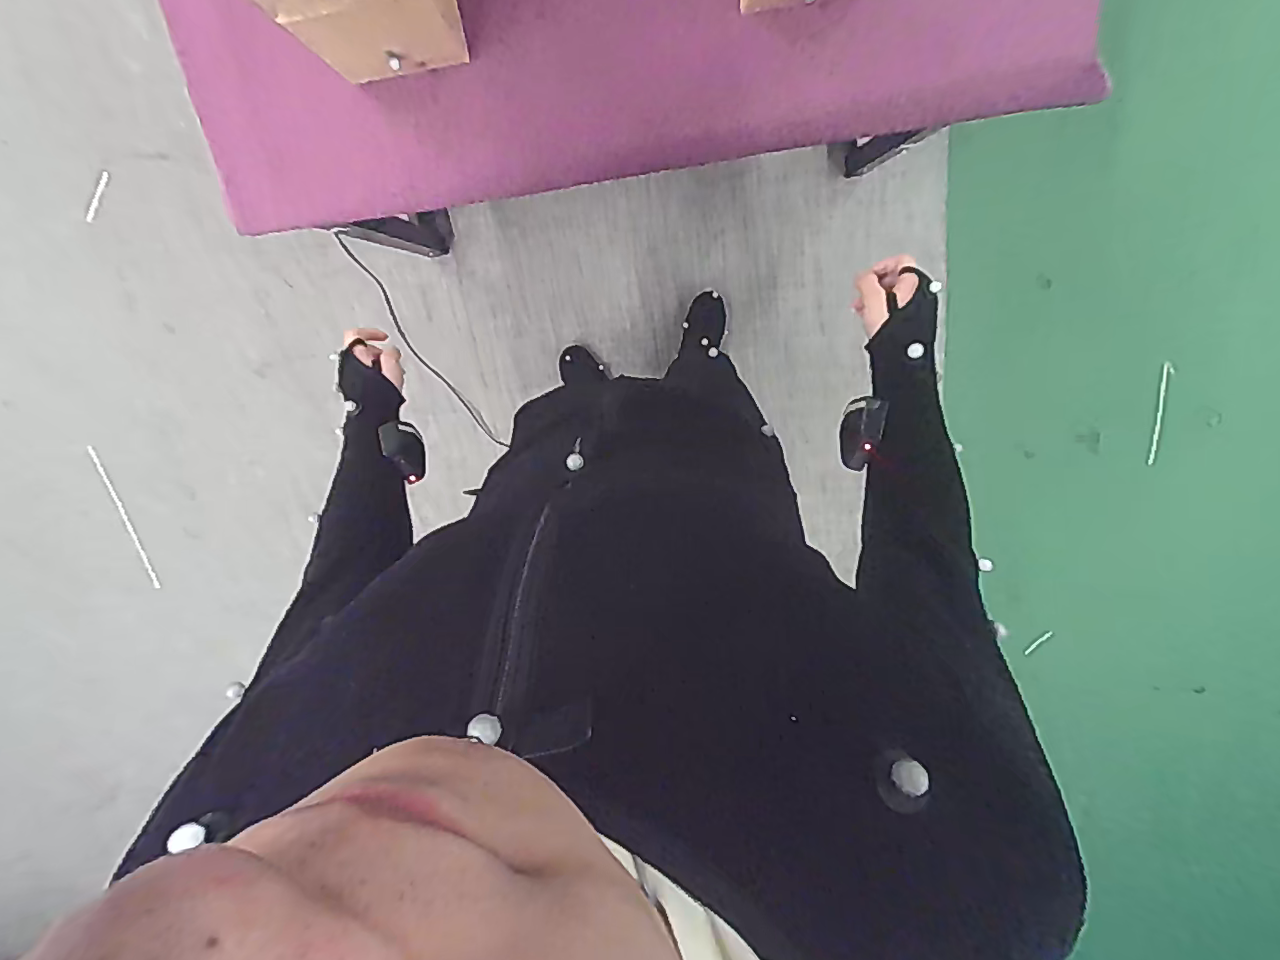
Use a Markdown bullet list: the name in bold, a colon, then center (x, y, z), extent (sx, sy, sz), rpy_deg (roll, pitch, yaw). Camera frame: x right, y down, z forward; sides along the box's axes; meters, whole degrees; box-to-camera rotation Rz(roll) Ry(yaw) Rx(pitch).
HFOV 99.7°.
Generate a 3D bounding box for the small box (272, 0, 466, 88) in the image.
- **small box**: center (-0.322, -0.600, 0.628), extent (0.168, 0.176, 0.179), rpy_deg (-9, 107, 2)

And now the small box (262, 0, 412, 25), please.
- **small box**: center (-0.319, -0.554, 0.472), extent (0.168, 0.176, 0.179), rpy_deg (-11, 107, 2)
